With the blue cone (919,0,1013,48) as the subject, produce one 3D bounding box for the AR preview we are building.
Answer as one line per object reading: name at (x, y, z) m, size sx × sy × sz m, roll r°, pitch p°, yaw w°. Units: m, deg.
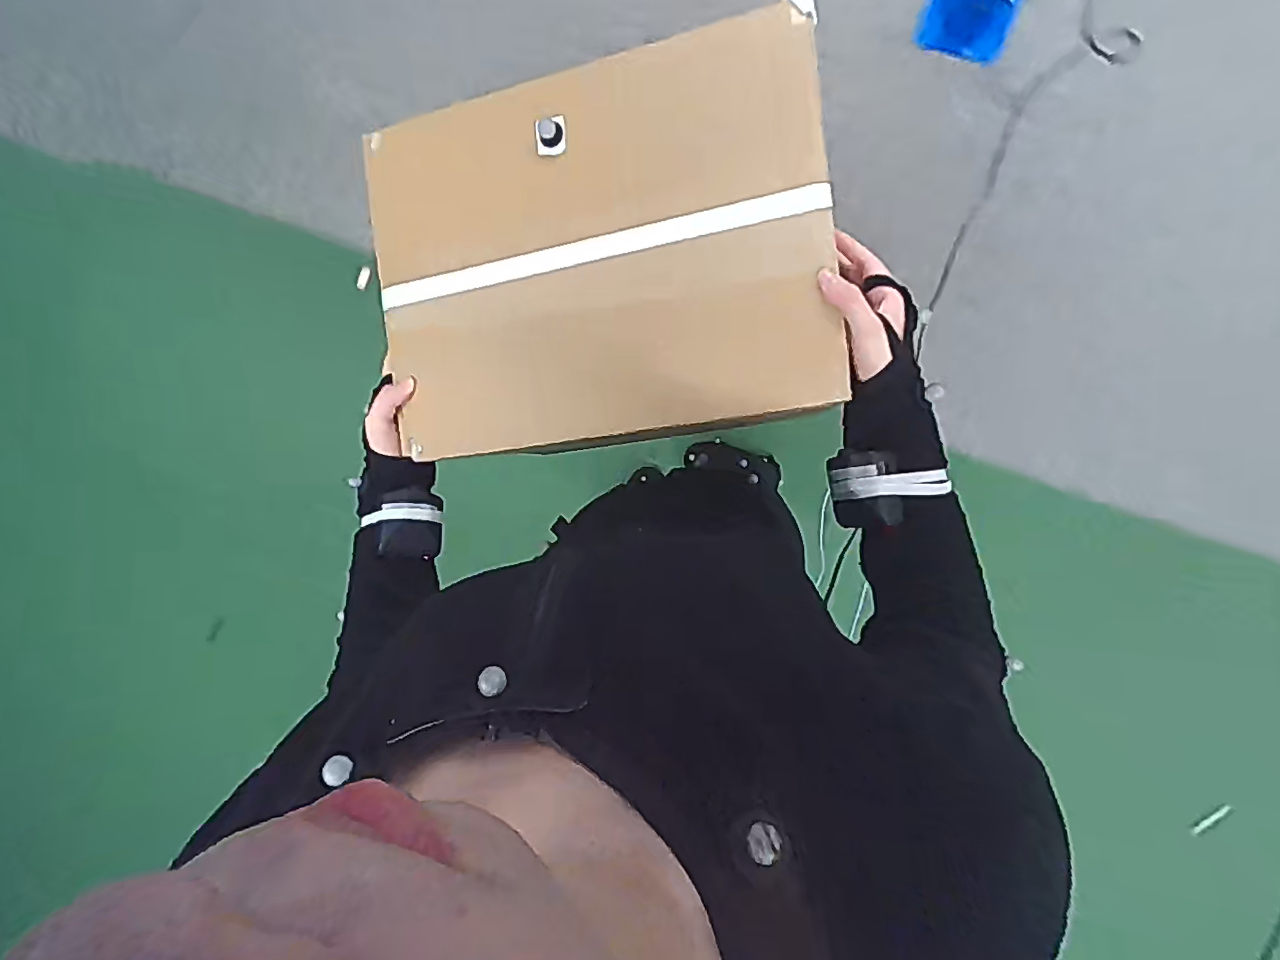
blue cone at (0.737, -1.096, 1.094) m, size 0.193 × 0.380 × 0.192 m, roll 17°, pitch 98°, yaw 7°
